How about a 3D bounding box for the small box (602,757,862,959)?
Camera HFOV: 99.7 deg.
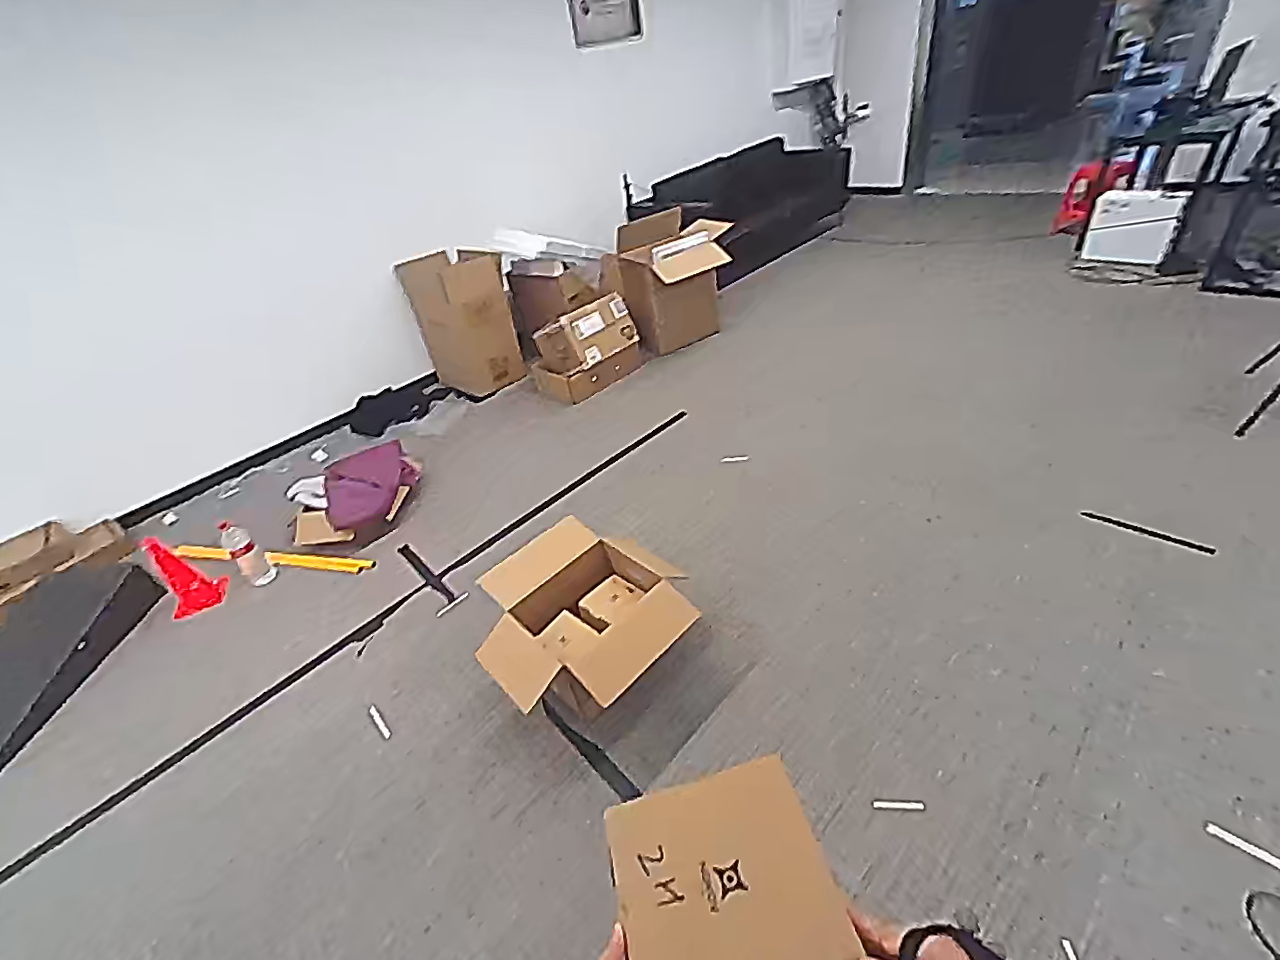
[{"bbox_3d":[0.077,0.396,0.497,0.179,0.176,0.168,-16,37,-4],"label":"small box"}]
